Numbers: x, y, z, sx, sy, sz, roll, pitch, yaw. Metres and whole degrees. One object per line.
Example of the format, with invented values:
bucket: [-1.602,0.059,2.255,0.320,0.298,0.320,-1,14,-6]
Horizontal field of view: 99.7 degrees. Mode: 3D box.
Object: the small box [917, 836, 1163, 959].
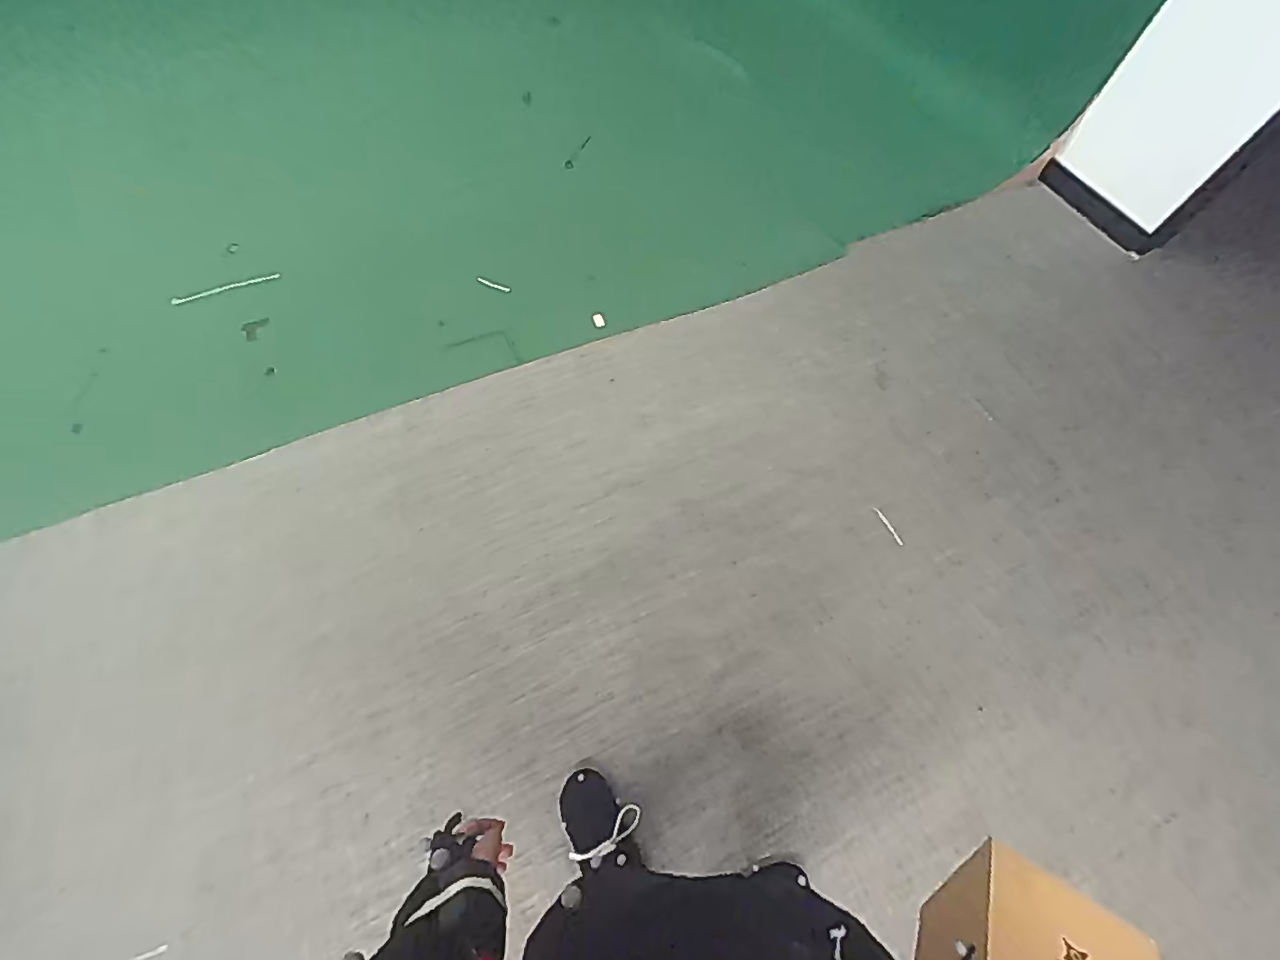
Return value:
small box: [0.402,0.533,0.558,0.168,0.176,0.179,30,32,23]
